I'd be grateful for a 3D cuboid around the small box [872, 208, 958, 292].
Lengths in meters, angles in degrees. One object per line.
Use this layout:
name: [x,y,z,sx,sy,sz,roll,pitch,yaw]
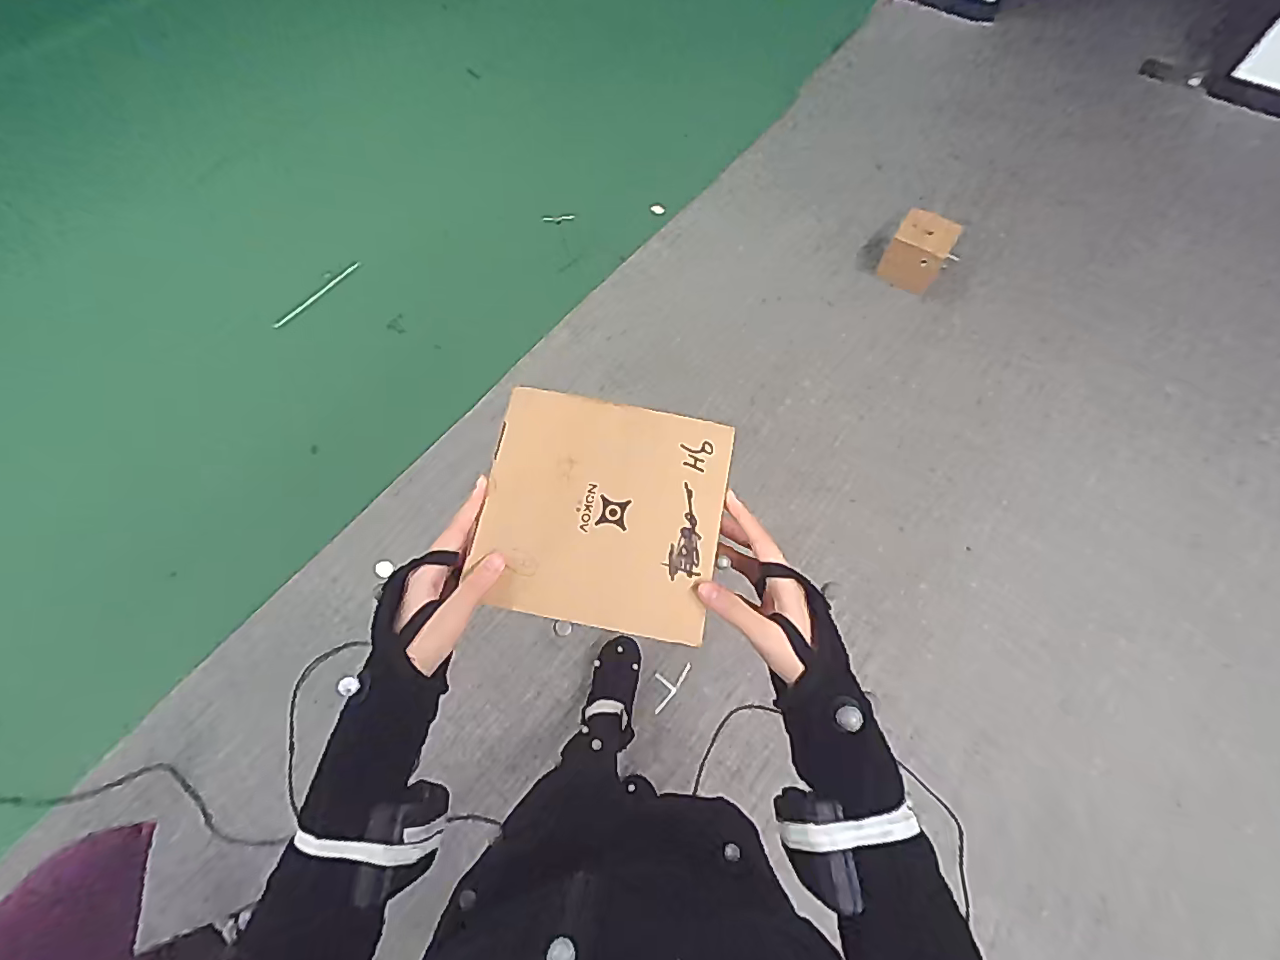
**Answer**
small box: [0.917,-0.766,1.816,0.179,0.176,0.168,31,70,16]
